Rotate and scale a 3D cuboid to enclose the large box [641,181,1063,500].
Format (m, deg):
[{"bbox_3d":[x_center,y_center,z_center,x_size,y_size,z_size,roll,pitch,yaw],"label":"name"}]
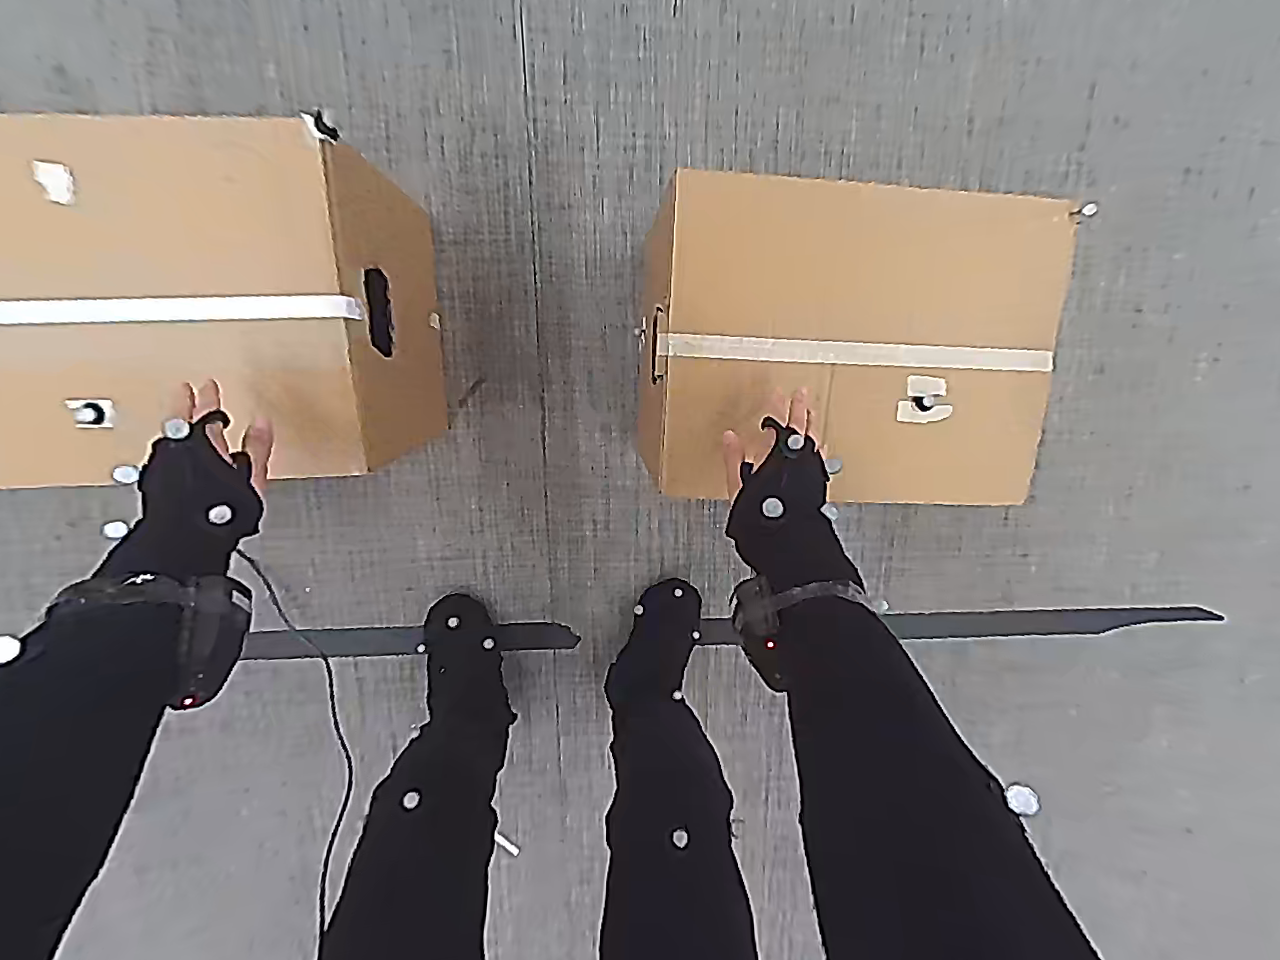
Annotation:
[{"bbox_3d":[0.216,-0.159,0.704,0.408,0.320,0.320,1,102,-6],"label":"large box"}]
